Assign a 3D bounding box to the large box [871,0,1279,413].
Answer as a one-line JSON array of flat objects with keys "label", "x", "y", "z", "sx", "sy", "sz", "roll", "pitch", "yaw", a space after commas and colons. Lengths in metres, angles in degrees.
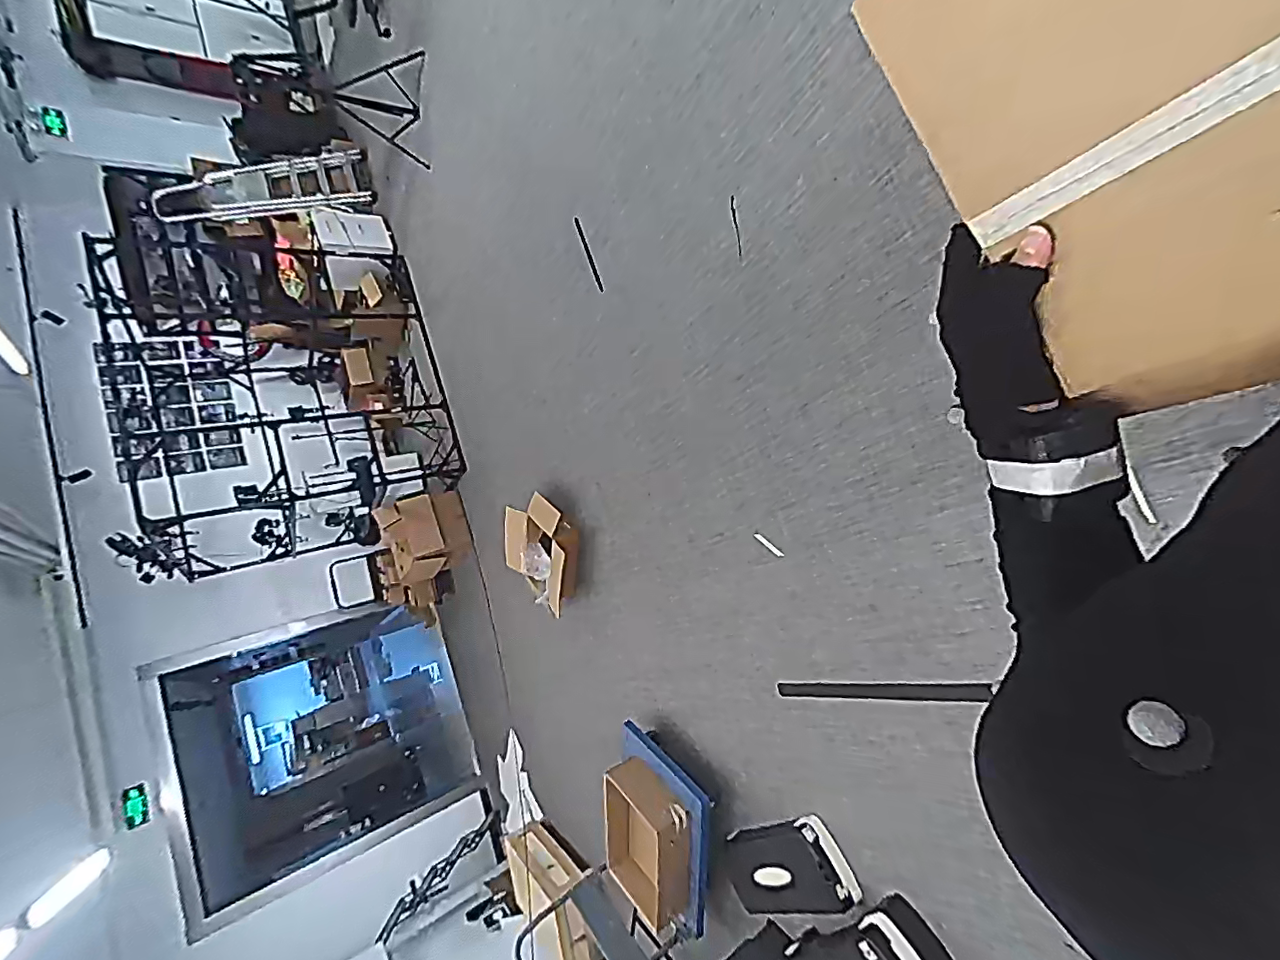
[{"label": "large box", "x": 0.421, "y": -0.294, "z": 0.280, "sx": 0.320, "sy": 0.320, "sz": 0.408, "roll": 52, "pitch": 146, "yaw": -11}]
